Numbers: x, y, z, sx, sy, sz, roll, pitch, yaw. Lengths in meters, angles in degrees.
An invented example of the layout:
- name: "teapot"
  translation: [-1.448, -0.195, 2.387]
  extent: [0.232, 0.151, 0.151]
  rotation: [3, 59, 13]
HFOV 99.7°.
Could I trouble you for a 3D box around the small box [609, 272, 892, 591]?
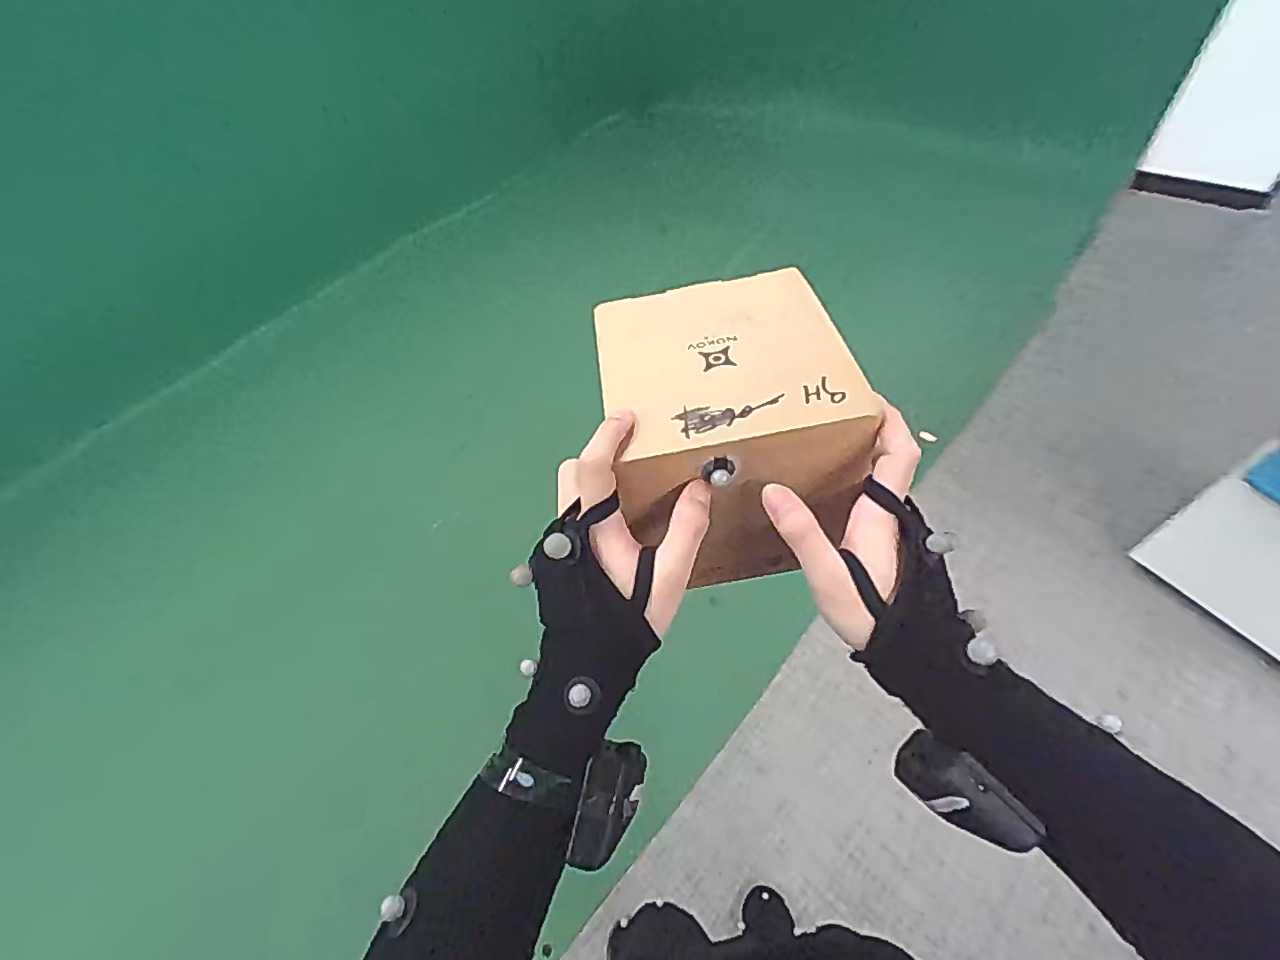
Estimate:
- name: "small box"
  translation: [0.073, -0.036, 0.435]
  extent: [0.168, 0.176, 0.179]
  rotation: [-10, 49, 3]
